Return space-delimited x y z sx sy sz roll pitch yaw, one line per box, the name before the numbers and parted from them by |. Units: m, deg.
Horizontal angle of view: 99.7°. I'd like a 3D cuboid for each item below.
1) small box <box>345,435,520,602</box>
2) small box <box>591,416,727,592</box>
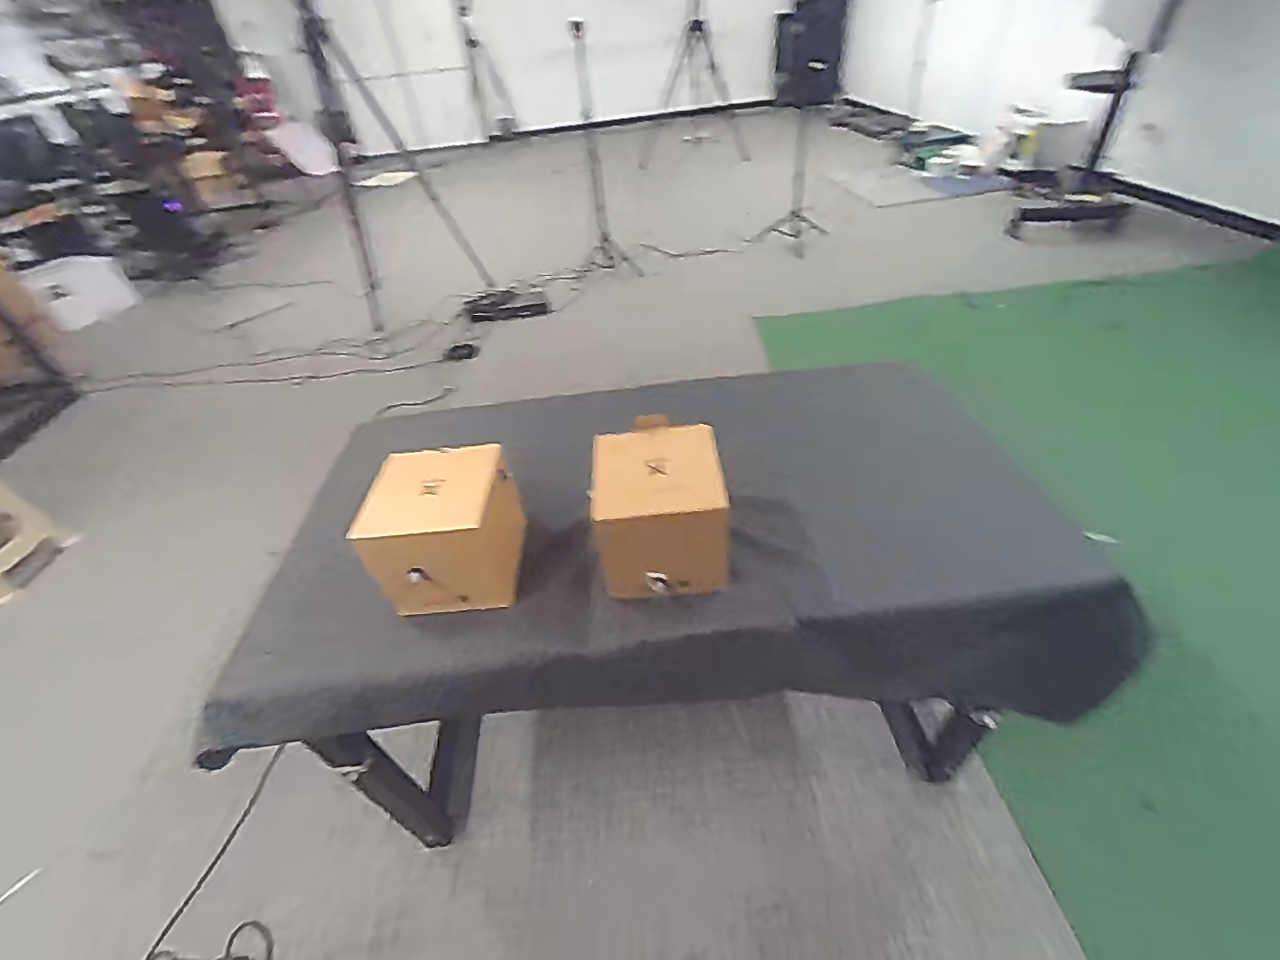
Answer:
small box | -0.278 0.060 0.775 0.168 0.176 0.179 -6 40 1
small box | 0.026 0.034 0.764 0.168 0.176 0.179 -7 42 2
